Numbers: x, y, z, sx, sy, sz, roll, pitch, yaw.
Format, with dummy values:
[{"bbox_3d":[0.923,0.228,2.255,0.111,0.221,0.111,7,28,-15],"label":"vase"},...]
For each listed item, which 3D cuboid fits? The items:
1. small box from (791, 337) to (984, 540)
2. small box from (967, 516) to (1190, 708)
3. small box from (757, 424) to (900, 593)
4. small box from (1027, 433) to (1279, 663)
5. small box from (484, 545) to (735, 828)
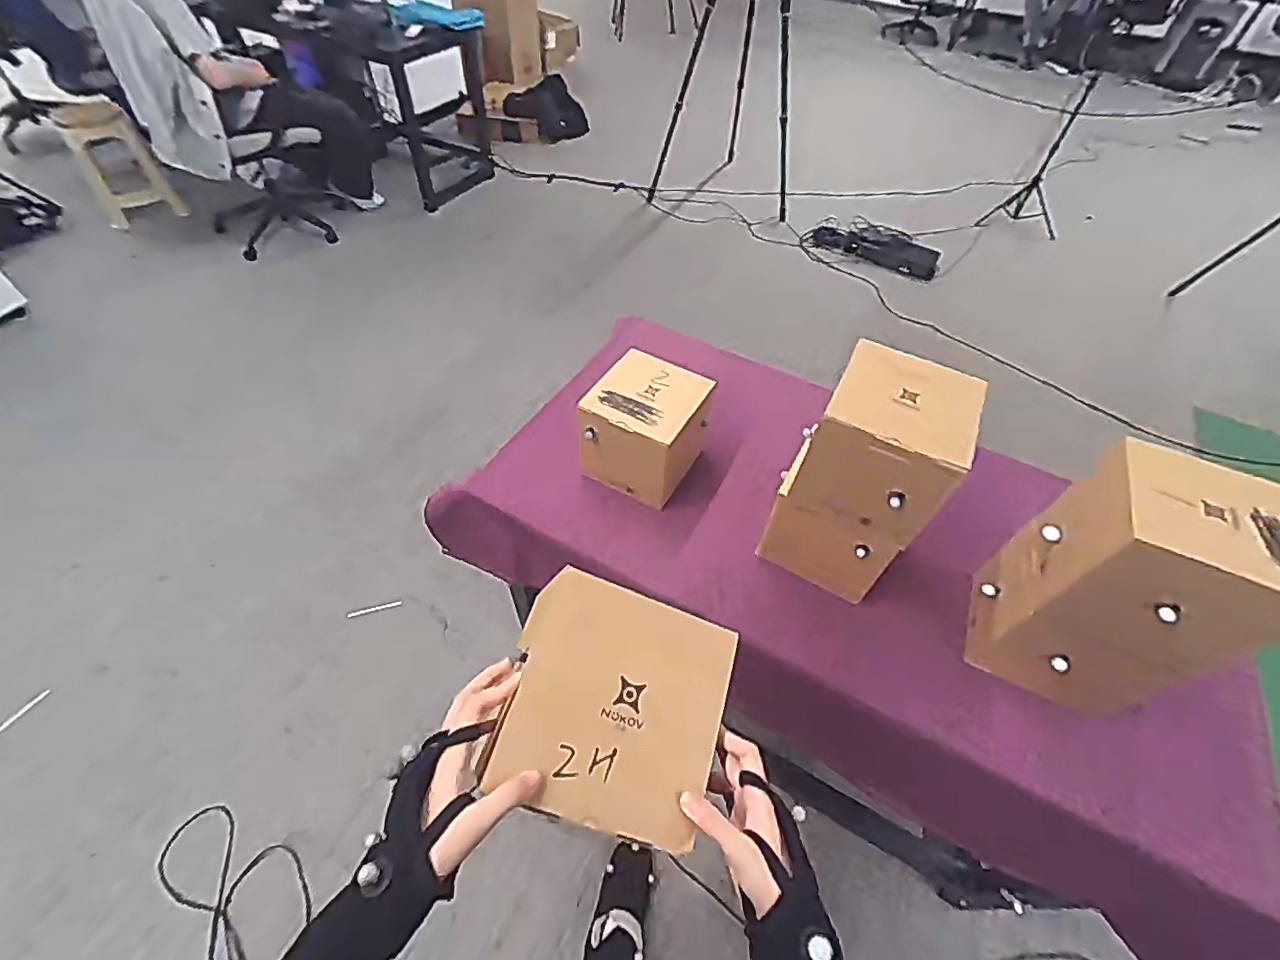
[{"bbox_3d":[0.317,-0.052,0.716,0.168,0.176,0.179,26,53,15],"label":"small box"},{"bbox_3d":[0.583,0.185,0.746,0.179,0.176,0.168,22,54,16],"label":"small box"},{"bbox_3d":[0.303,0.048,0.845,0.179,0.176,0.168,27,54,16],"label":"small box"},{"bbox_3d":[0.589,0.083,0.616,0.179,0.176,0.168,24,53,16],"label":"small box"},{"bbox_3d":[-0.037,0.187,0.505,0.168,0.176,0.179,24,64,-9],"label":"small box"}]
